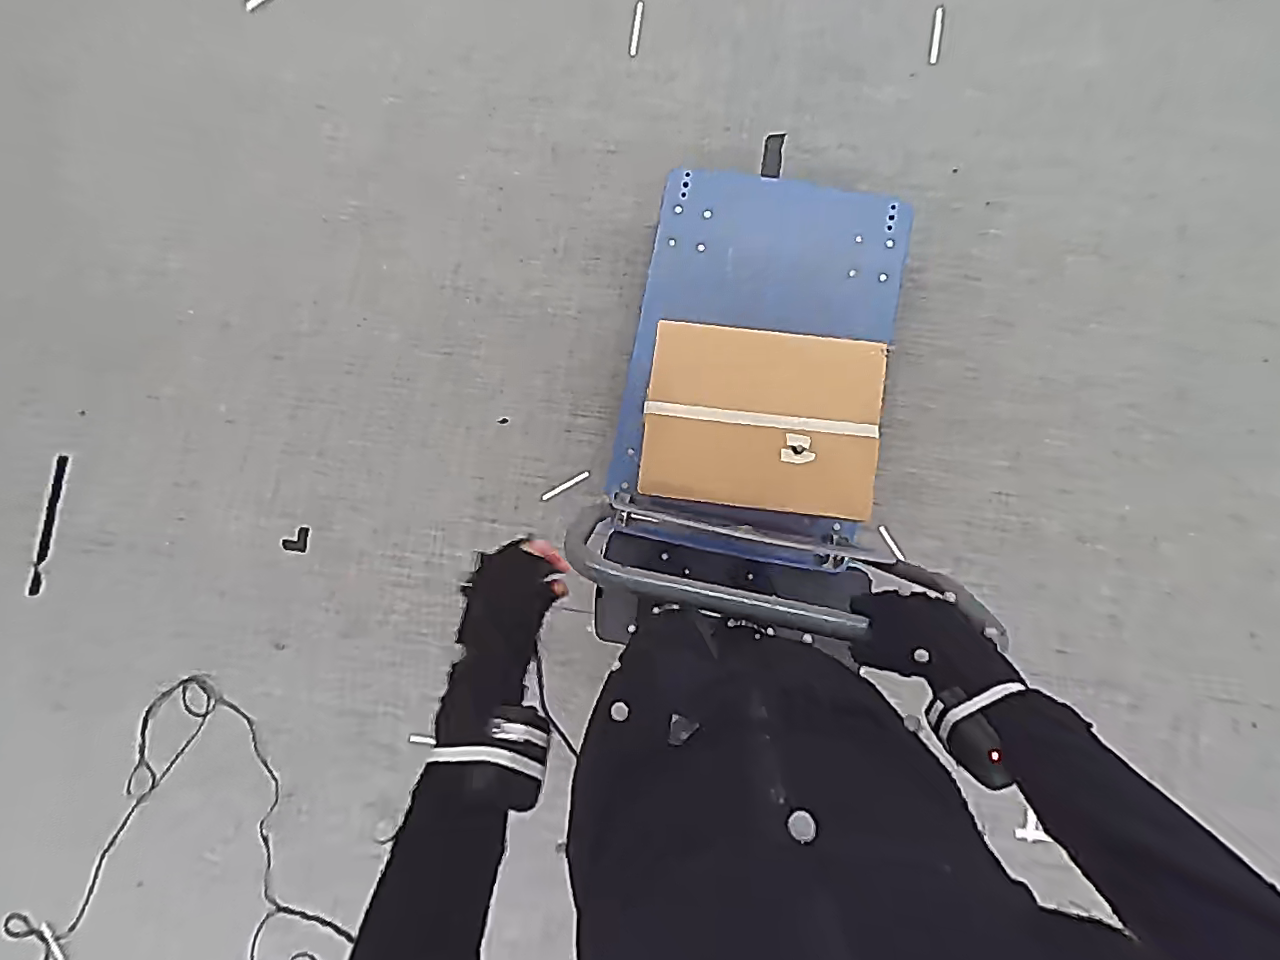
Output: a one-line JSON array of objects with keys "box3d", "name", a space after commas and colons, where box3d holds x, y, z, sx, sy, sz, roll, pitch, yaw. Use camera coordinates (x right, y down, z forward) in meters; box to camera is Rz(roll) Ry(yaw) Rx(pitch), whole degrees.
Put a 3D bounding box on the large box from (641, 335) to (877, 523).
[{"box3d": [0.215, -0.087, 1.114, 0.408, 0.320, 0.320, 6, 89, 2], "name": "large box"}]
